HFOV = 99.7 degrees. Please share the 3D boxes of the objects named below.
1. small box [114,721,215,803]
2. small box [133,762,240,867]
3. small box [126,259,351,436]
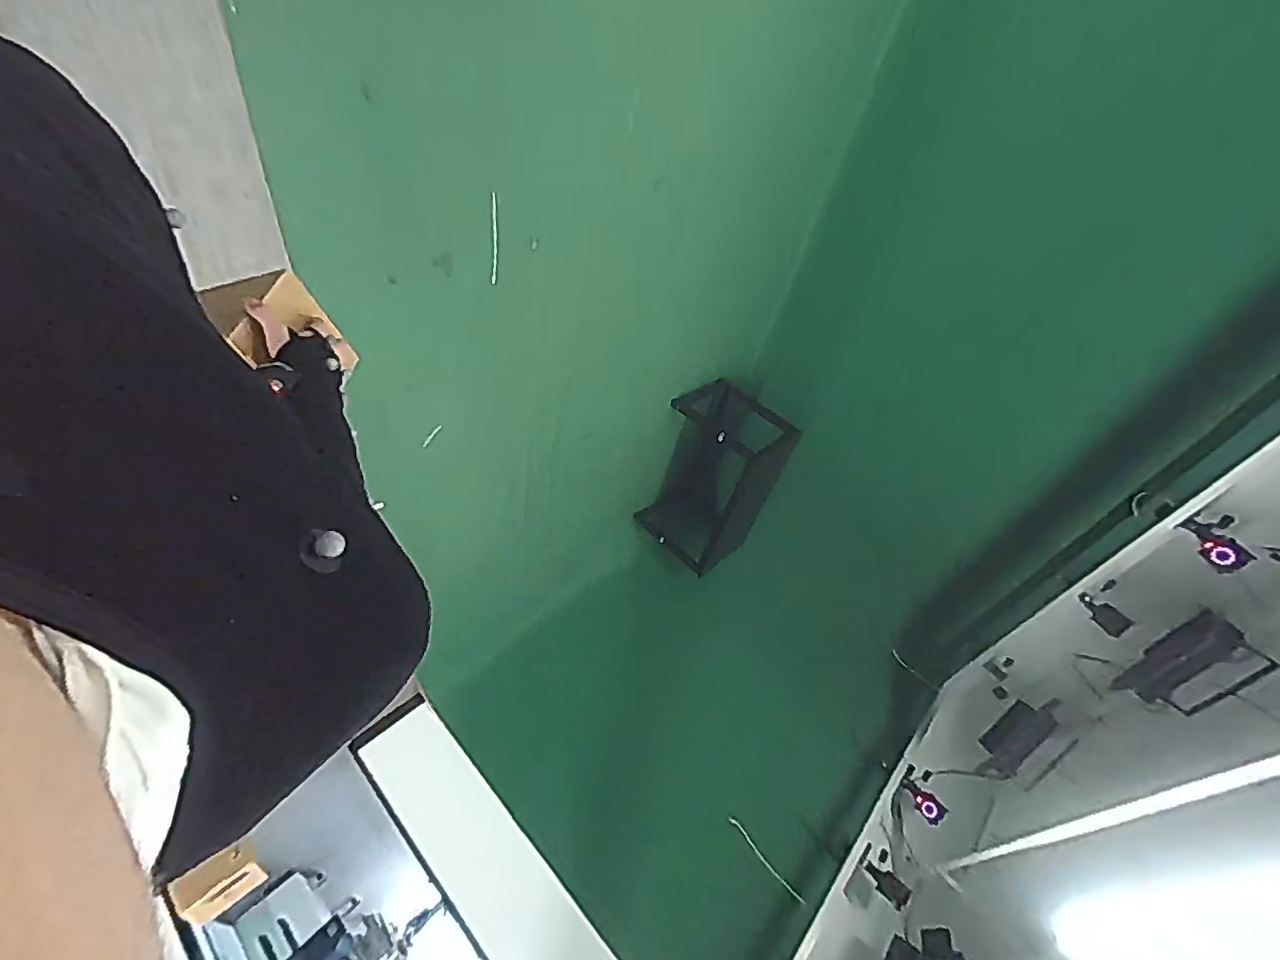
[{"bbox_3d":[-1.403,0.855,1.605,0.168,0.176,0.179,-31,149,-39],"label":"small box"},{"bbox_3d":[-1.287,0.946,1.539,0.168,0.176,0.179,-31,148,-38],"label":"small box"},{"bbox_3d":[-0.566,-0.184,0.777,0.176,0.179,0.168,-9,138,10],"label":"small box"}]
